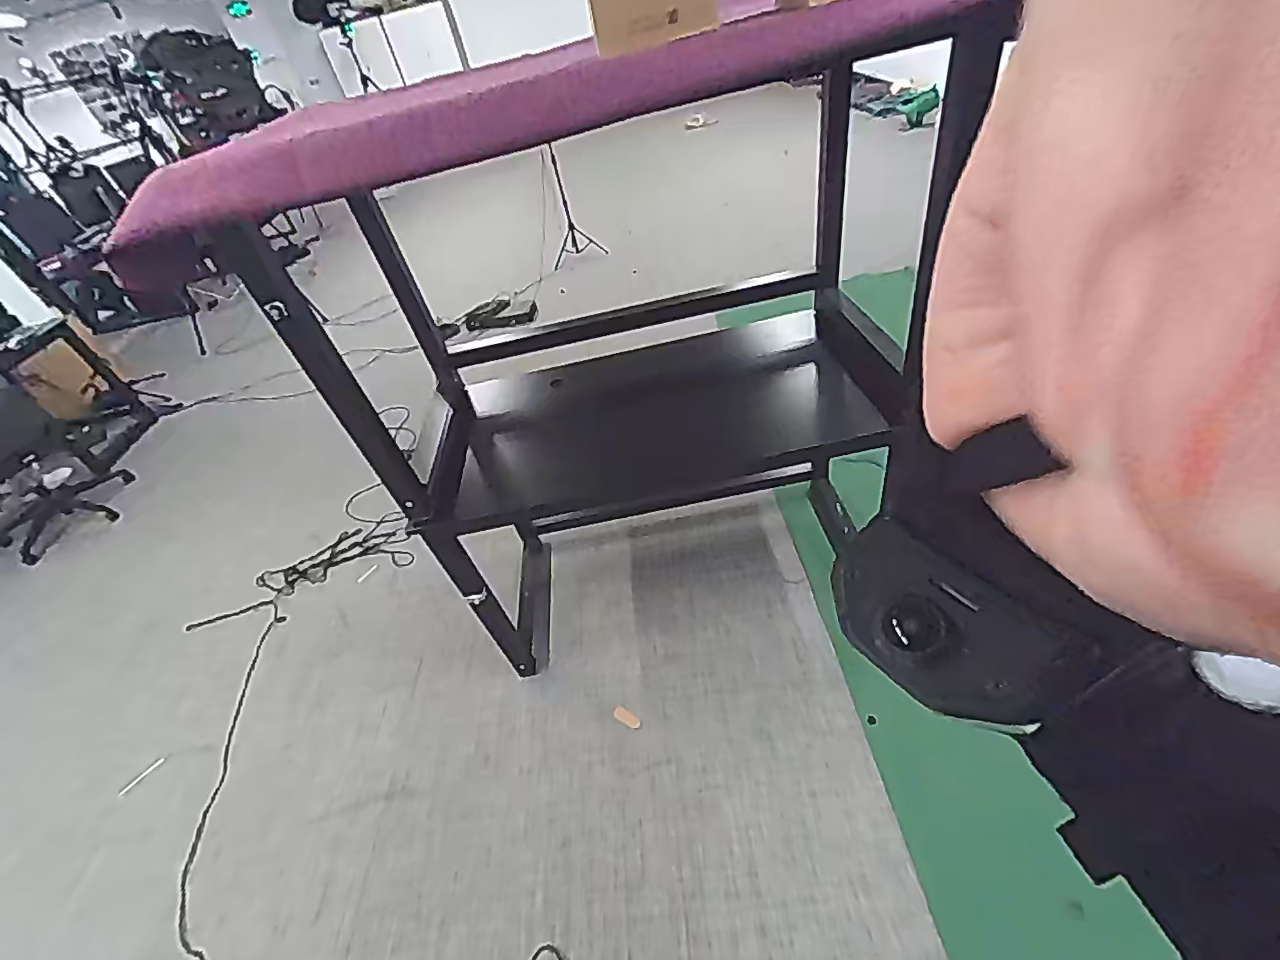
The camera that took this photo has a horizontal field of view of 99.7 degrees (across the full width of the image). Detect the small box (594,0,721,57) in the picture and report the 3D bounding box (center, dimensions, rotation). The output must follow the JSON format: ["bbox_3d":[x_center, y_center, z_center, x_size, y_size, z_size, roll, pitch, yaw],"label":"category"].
[{"bbox_3d":[0.013,-0.706,0.746,0.168,0.176,0.179,-10,40,3],"label":"small box"}]

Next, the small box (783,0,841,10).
[{"bbox_3d":[0.289,-0.756,0.722,0.168,0.176,0.179,-11,41,5],"label":"small box"}]
